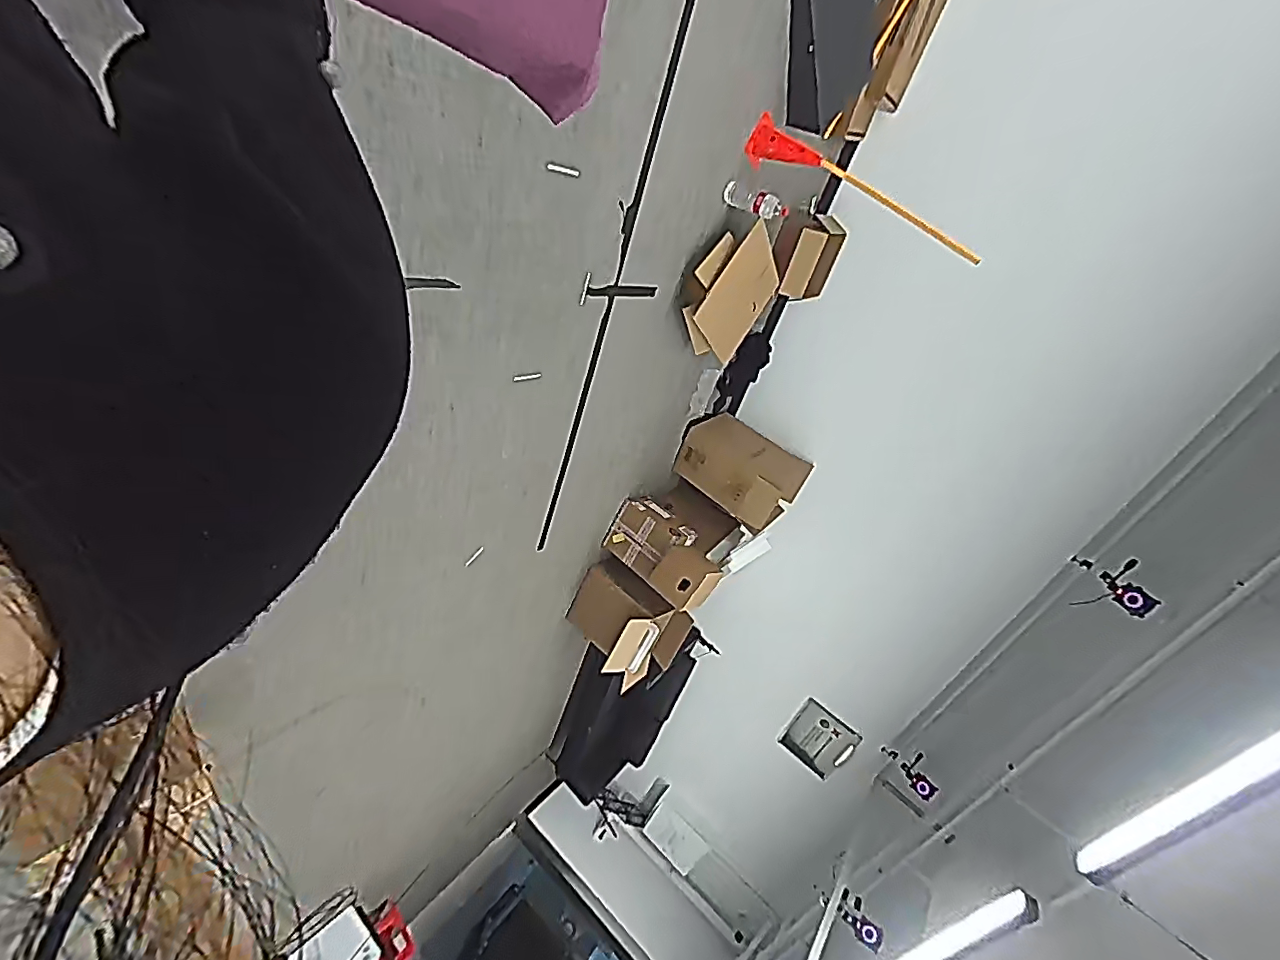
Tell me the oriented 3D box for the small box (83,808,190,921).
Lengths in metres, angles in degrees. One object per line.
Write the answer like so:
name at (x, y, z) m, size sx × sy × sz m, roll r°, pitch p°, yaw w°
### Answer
small box at (-1.457, 1.106, 1.569) m, size 0.179 × 0.176 × 0.168 m, roll -24°, pitch 141°, yaw -49°

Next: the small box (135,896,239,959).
small box at (-1.209, 1.282, 1.444) m, size 0.179 × 0.176 × 0.168 m, roll -22°, pitch 140°, yaw -52°
